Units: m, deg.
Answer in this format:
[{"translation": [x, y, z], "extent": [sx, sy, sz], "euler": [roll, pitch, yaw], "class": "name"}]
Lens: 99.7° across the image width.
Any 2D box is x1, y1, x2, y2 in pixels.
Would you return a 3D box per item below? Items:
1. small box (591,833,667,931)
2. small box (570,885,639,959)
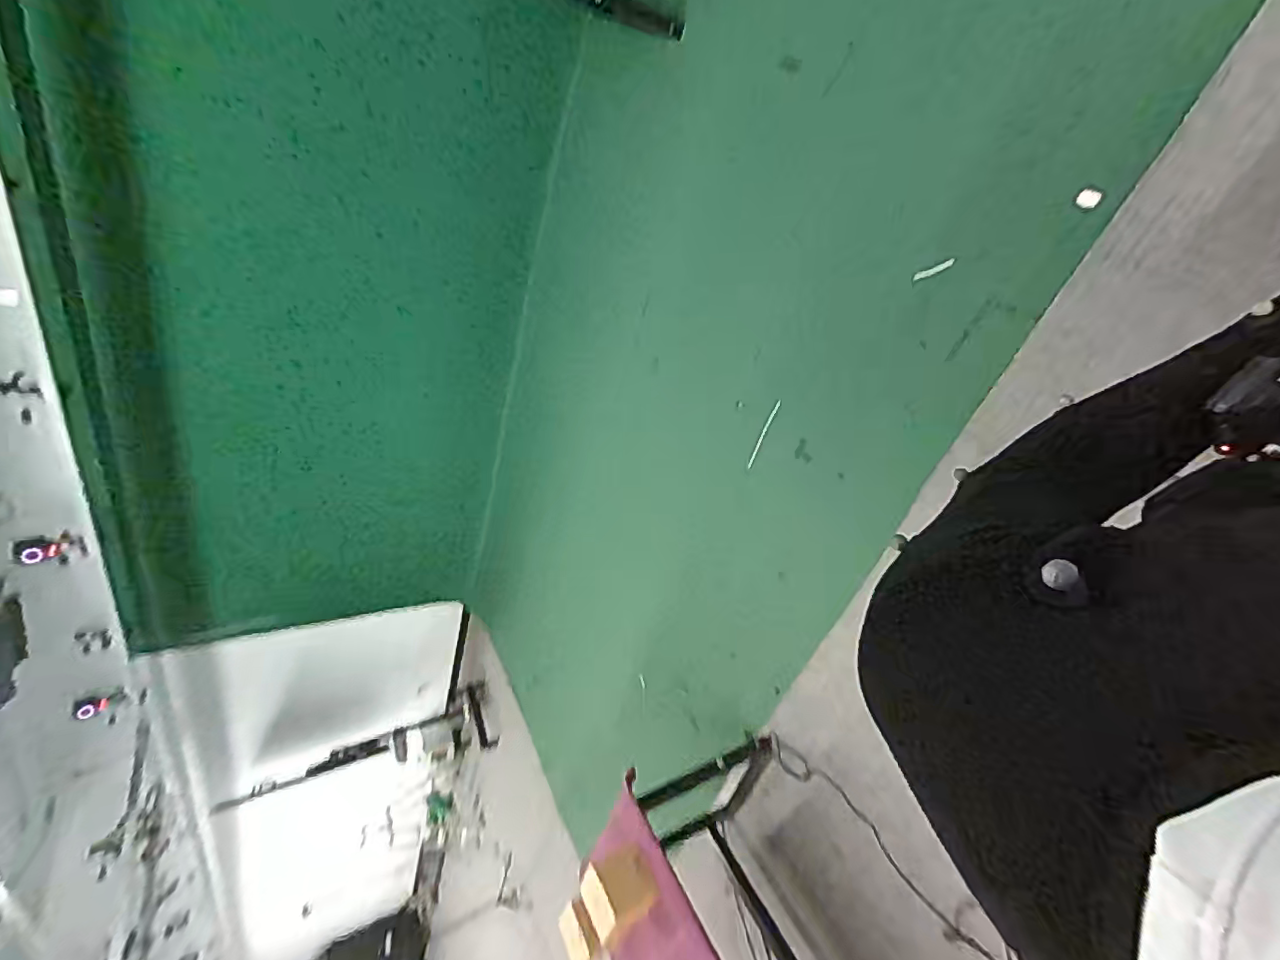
[{"translation": [-0.035, 1.300, 1.756], "extent": [0.168, 0.176, 0.179], "euler": [46, 130, 39], "class": "small box"}, {"translation": [-0.124, 1.542, 1.919], "extent": [0.168, 0.176, 0.179], "euler": [48, 131, 38], "class": "small box"}]
